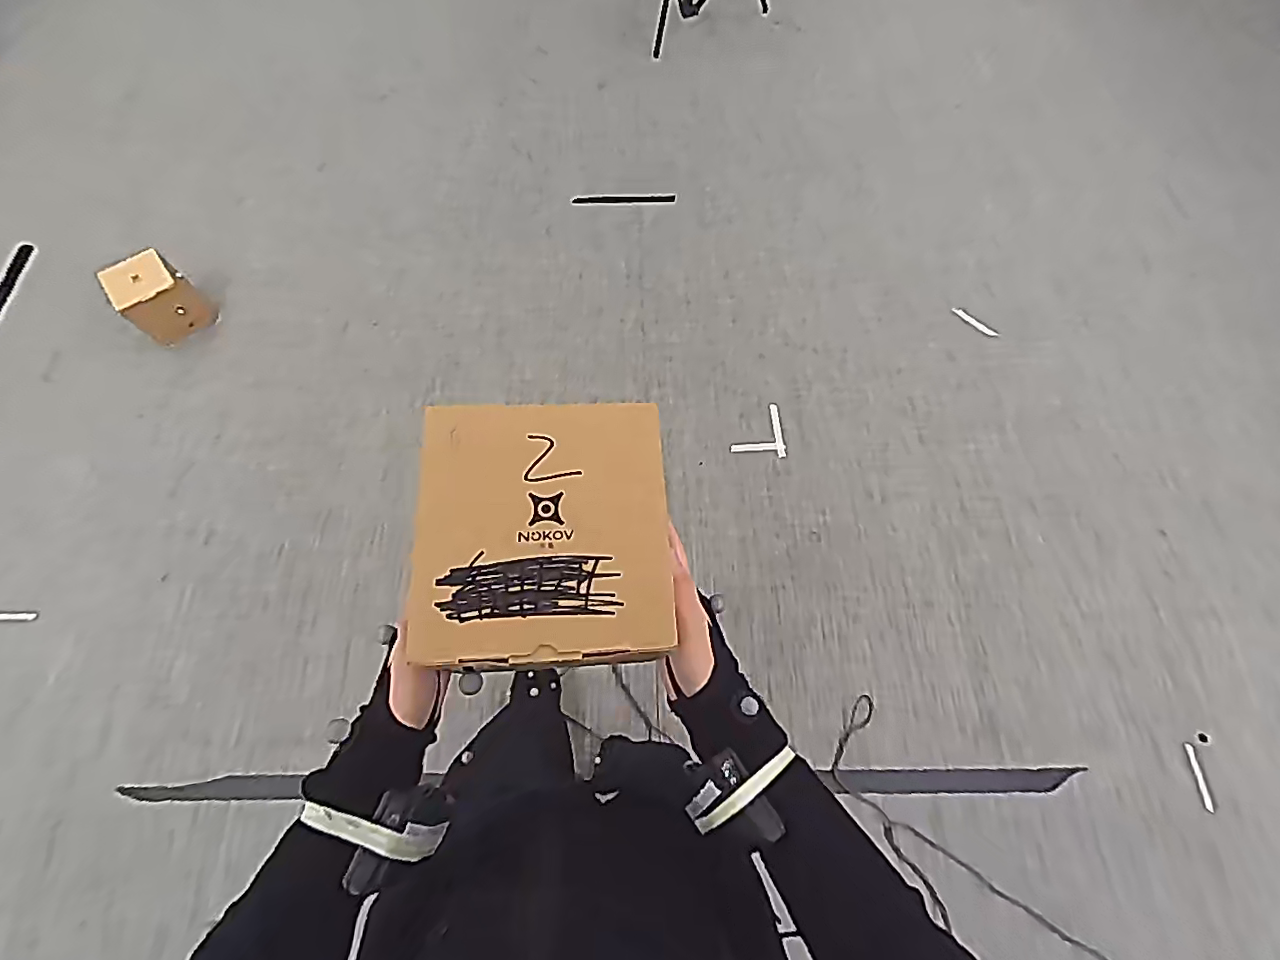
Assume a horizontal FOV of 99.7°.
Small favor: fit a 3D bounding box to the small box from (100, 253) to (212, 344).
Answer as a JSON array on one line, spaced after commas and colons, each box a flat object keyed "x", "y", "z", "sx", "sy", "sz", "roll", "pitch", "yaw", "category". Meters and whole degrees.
[{"x": -1.453, "y": -0.538, "z": 1.635, "sx": 0.168, "sy": 0.176, "sz": 0.179, "roll": -36, "pitch": 72, "yaw": -16, "category": "small box"}]
